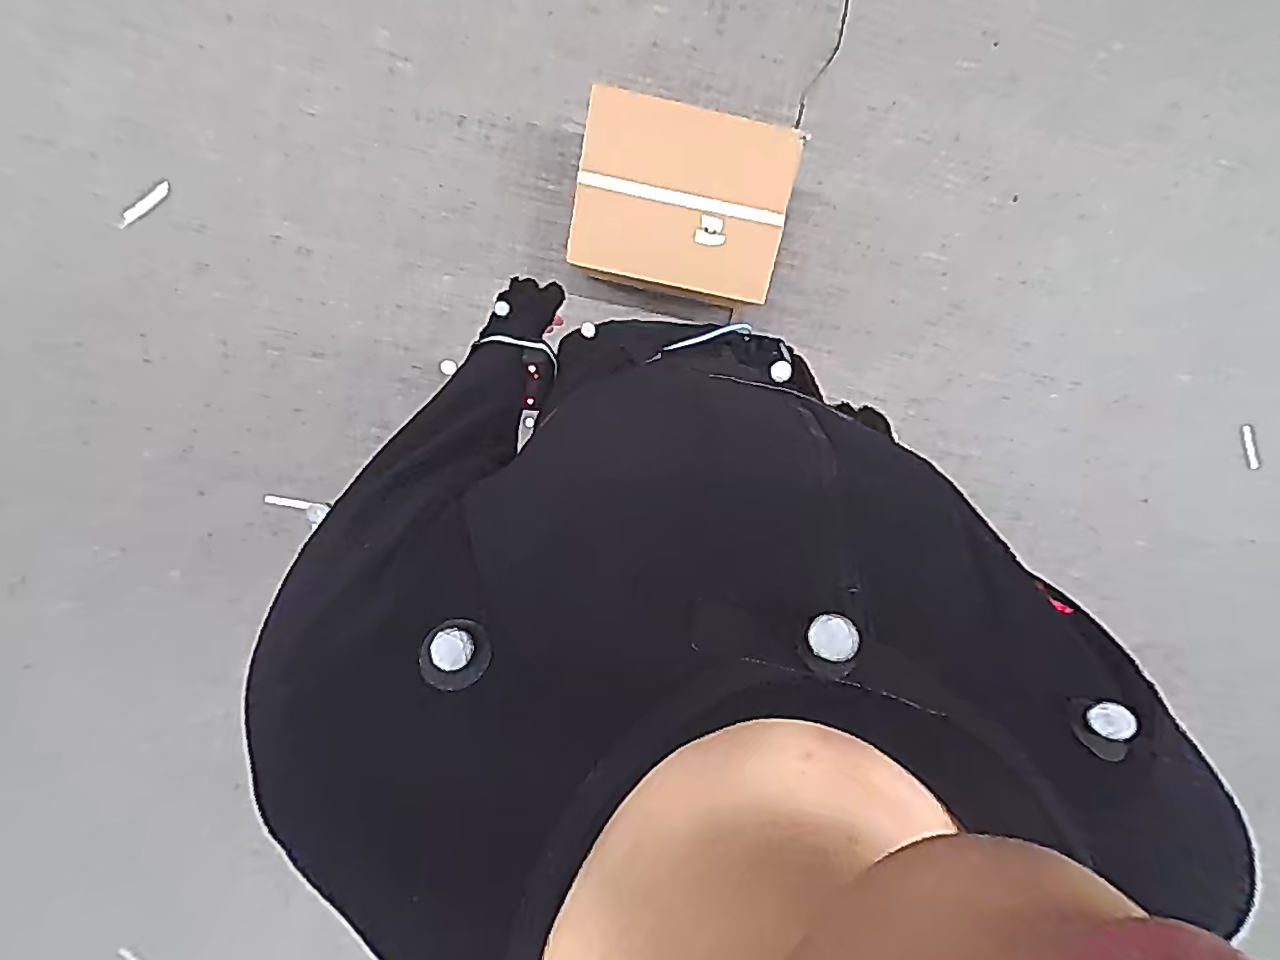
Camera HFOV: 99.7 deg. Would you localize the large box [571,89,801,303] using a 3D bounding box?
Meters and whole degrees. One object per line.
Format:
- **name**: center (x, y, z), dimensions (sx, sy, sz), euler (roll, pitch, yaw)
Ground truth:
- **large box**: center (0.080, -0.588, 1.191), dimensions (0.408, 0.320, 0.320), euler (11, 107, -4)
